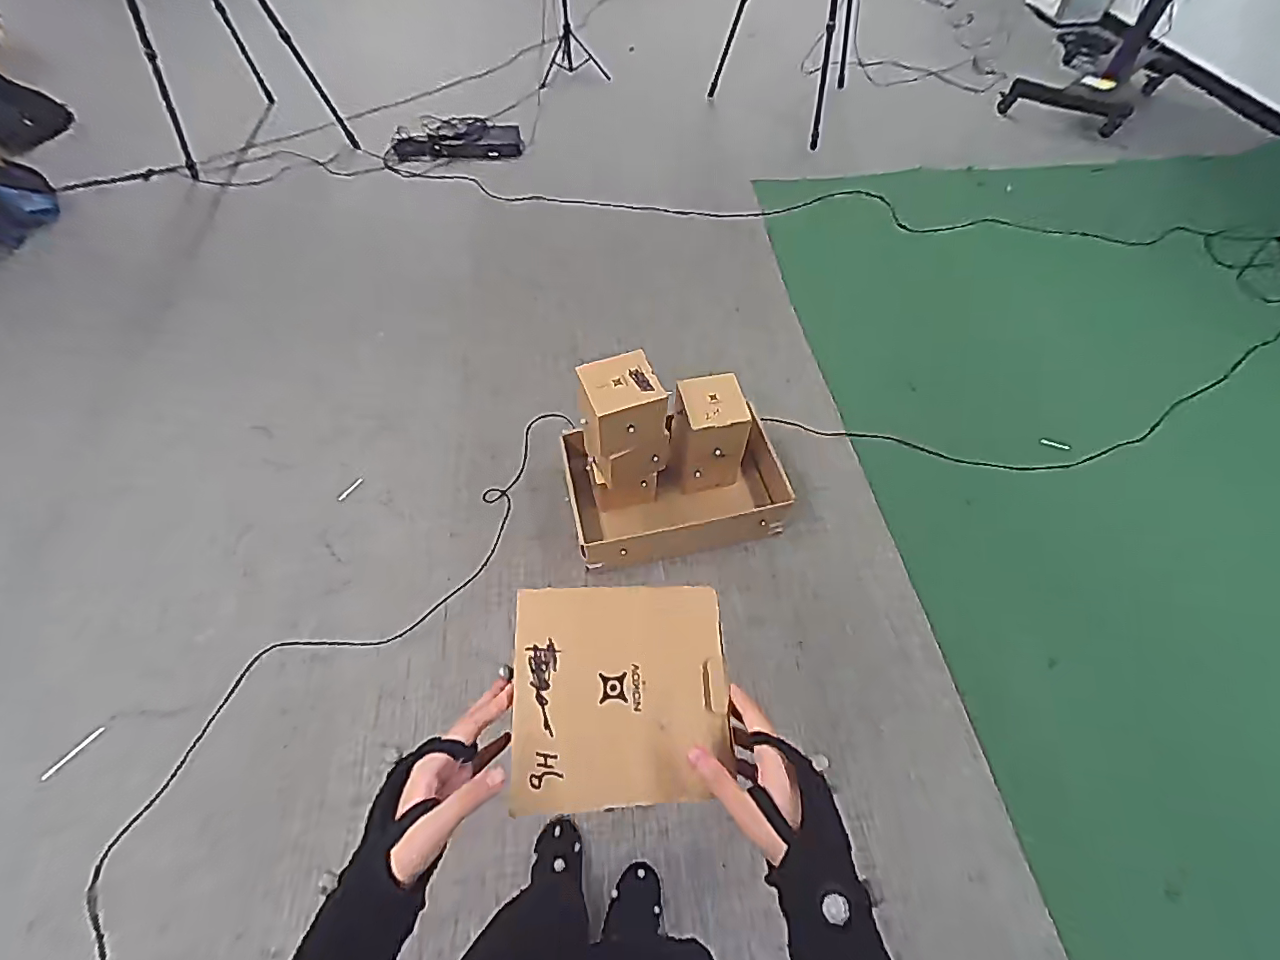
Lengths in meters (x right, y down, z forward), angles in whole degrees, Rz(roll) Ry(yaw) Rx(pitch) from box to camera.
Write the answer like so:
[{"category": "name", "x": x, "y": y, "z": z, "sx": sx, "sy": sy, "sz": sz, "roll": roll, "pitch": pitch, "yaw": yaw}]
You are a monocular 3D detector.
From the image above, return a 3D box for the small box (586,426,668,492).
[{"category": "small box", "x": -0.043, "y": -0.098, "z": 1.476, "sx": 0.179, "sy": 0.176, "sz": 0.168, "roll": -25, "pitch": 62, "yaw": -16}]

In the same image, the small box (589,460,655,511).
[{"category": "small box", "x": -0.057, "y": -0.023, "z": 1.620, "sx": 0.179, "sy": 0.176, "sz": 0.168, "roll": -10, "pitch": 59, "yaw": -8}]

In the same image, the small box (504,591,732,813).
[{"category": "small box", "x": -0.029, "y": 0.207, "z": 0.509, "sx": 0.179, "sy": 0.176, "sz": 0.168, "roll": 3, "pitch": 63, "yaw": -10}]

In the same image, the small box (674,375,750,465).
[{"category": "small box", "x": 0.195, "y": -0.166, "z": 1.516, "sx": 0.168, "sy": 0.176, "sz": 0.179, "roll": -10, "pitch": 58, "yaw": -5}]

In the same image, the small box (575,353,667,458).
[{"category": "small box", "x": -0.050, "y": -0.181, "z": 1.334, "sx": 0.179, "sy": 0.176, "sz": 0.168, "roll": -18, "pitch": 60, "yaw": -12}]
